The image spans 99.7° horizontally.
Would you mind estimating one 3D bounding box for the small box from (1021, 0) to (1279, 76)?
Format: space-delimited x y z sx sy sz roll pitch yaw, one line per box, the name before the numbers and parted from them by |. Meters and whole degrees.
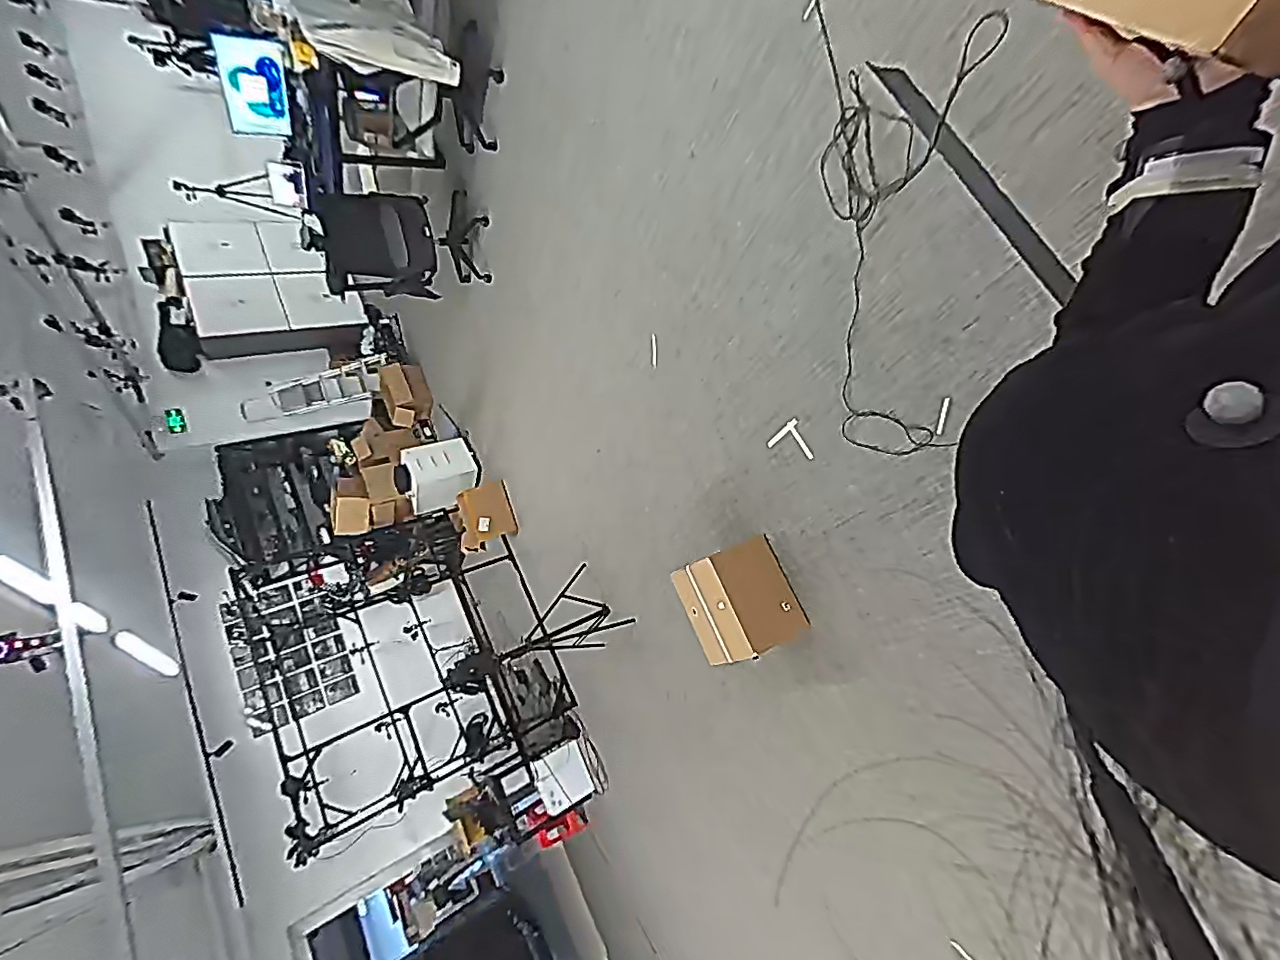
small box | 0.301 -0.318 0.258 0.179 0.176 0.168 58 149 32
